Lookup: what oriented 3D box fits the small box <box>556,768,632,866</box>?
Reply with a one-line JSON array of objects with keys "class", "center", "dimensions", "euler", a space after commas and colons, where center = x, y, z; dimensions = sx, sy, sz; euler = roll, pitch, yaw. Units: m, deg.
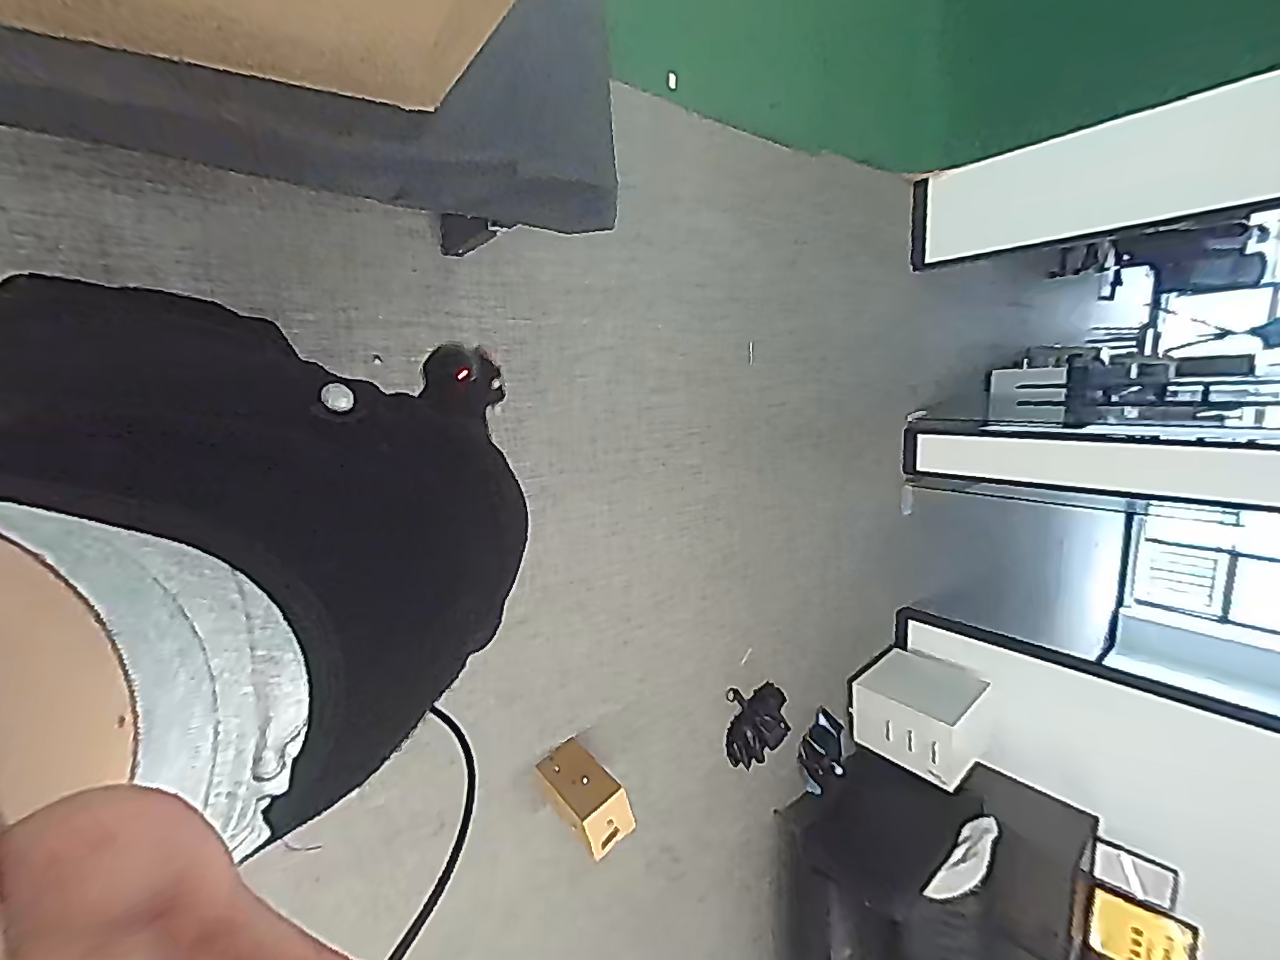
[{"class": "small box", "center": [-0.152, 1.092, 1.770], "dimensions": [0.168, 0.176, 0.179], "euler": [-25, 111, -33]}]

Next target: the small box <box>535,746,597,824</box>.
[{"class": "small box", "center": [-0.248, 1.073, 1.903], "dimensions": [0.168, 0.176, 0.179], "euler": [-26, 114, -32]}]
